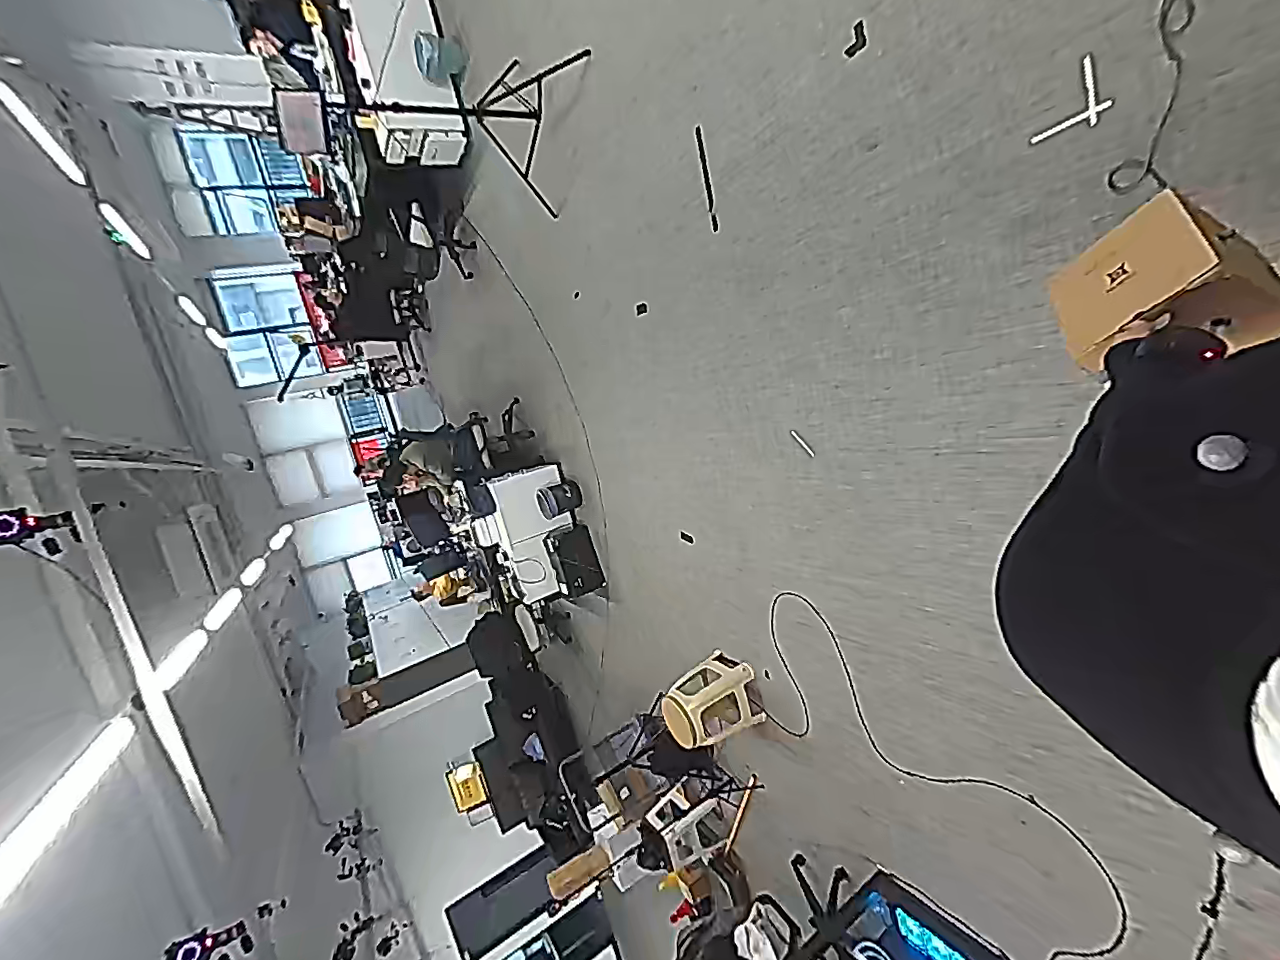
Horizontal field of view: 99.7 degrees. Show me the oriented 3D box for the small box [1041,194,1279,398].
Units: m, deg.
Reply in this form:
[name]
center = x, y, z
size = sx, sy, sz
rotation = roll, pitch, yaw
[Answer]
[small box]
center = 0.692, -0.231, 0.720
size = 0.168, 0.176, 0.179
rotation = -50, 21, 53
